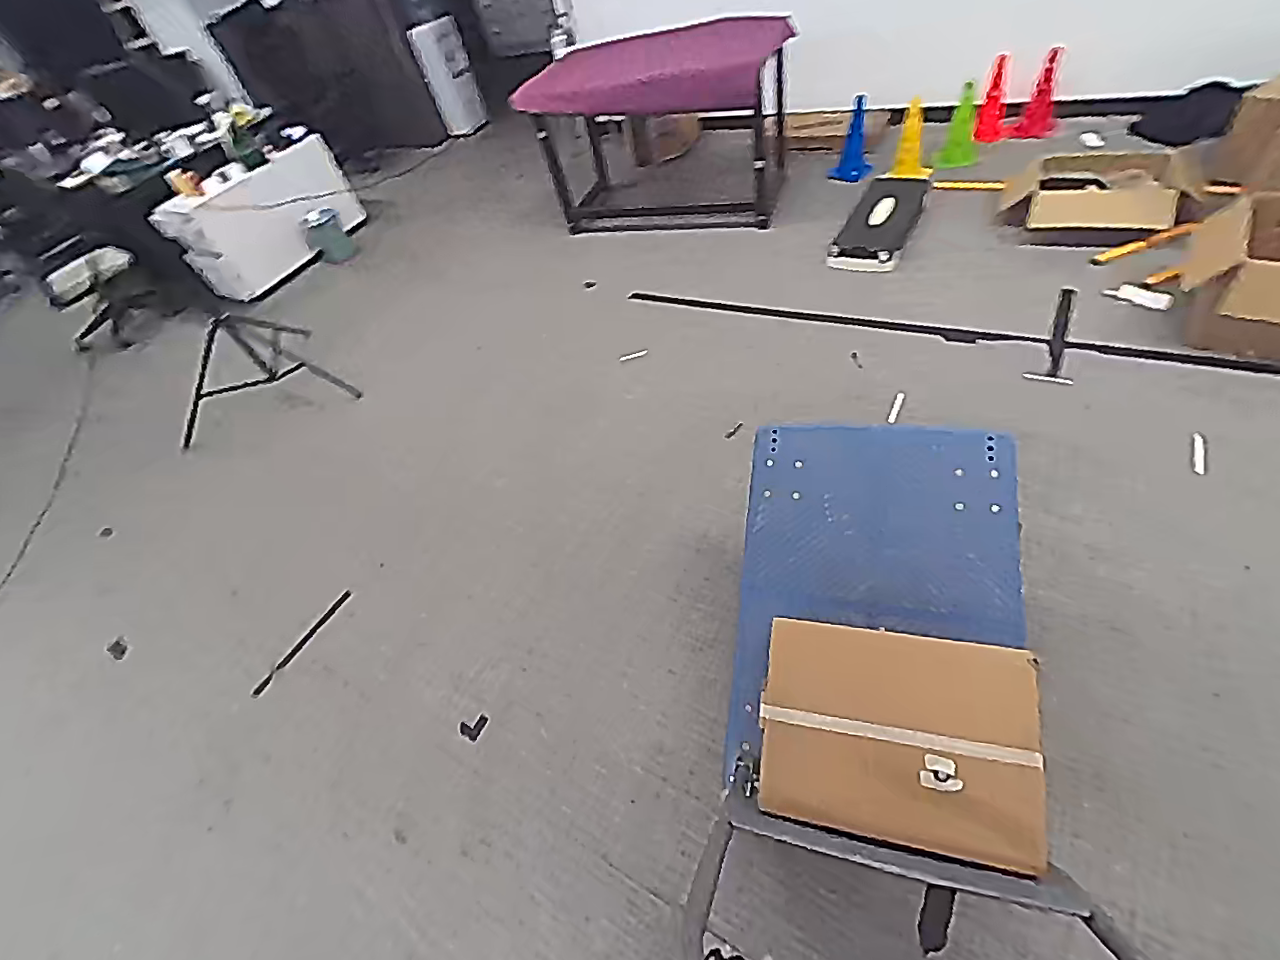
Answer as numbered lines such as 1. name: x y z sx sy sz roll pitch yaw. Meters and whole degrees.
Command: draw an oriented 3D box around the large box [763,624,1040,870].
1. large box: 0.447 0.459 1.016 0.408 0.320 0.320 3 74 17
